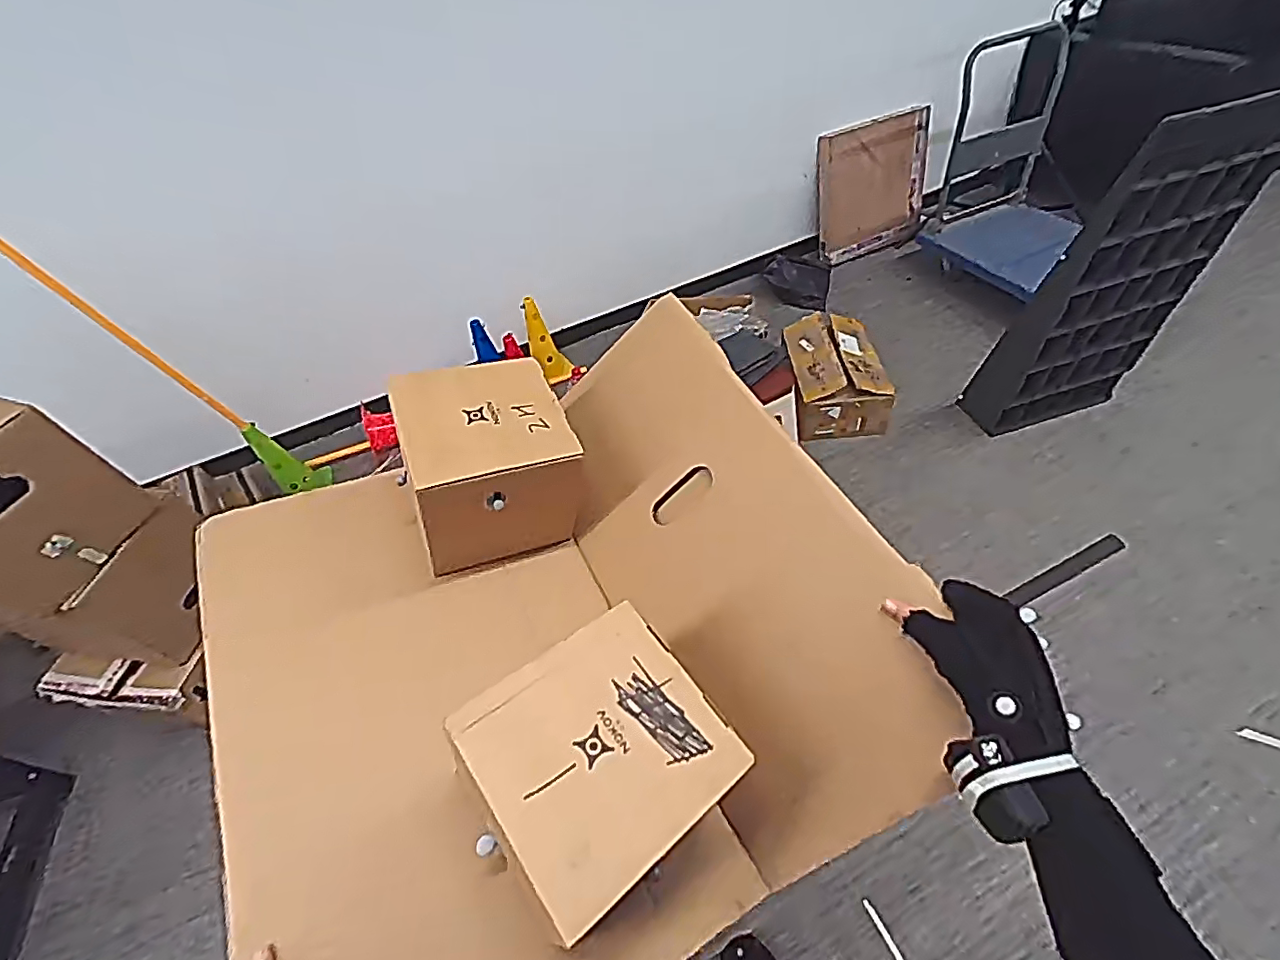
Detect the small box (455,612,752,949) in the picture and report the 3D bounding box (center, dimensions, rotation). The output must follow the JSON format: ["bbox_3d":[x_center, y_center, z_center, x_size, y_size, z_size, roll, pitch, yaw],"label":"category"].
[{"bbox_3d":[-0.040,0.254,0.472,0.179,0.176,0.168,-27,62,-30],"label":"small box"}]

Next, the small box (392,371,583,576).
[{"bbox_3d":[-0.182,-0.006,0.656,0.179,0.176,0.168,-13,56,-23],"label":"small box"}]
